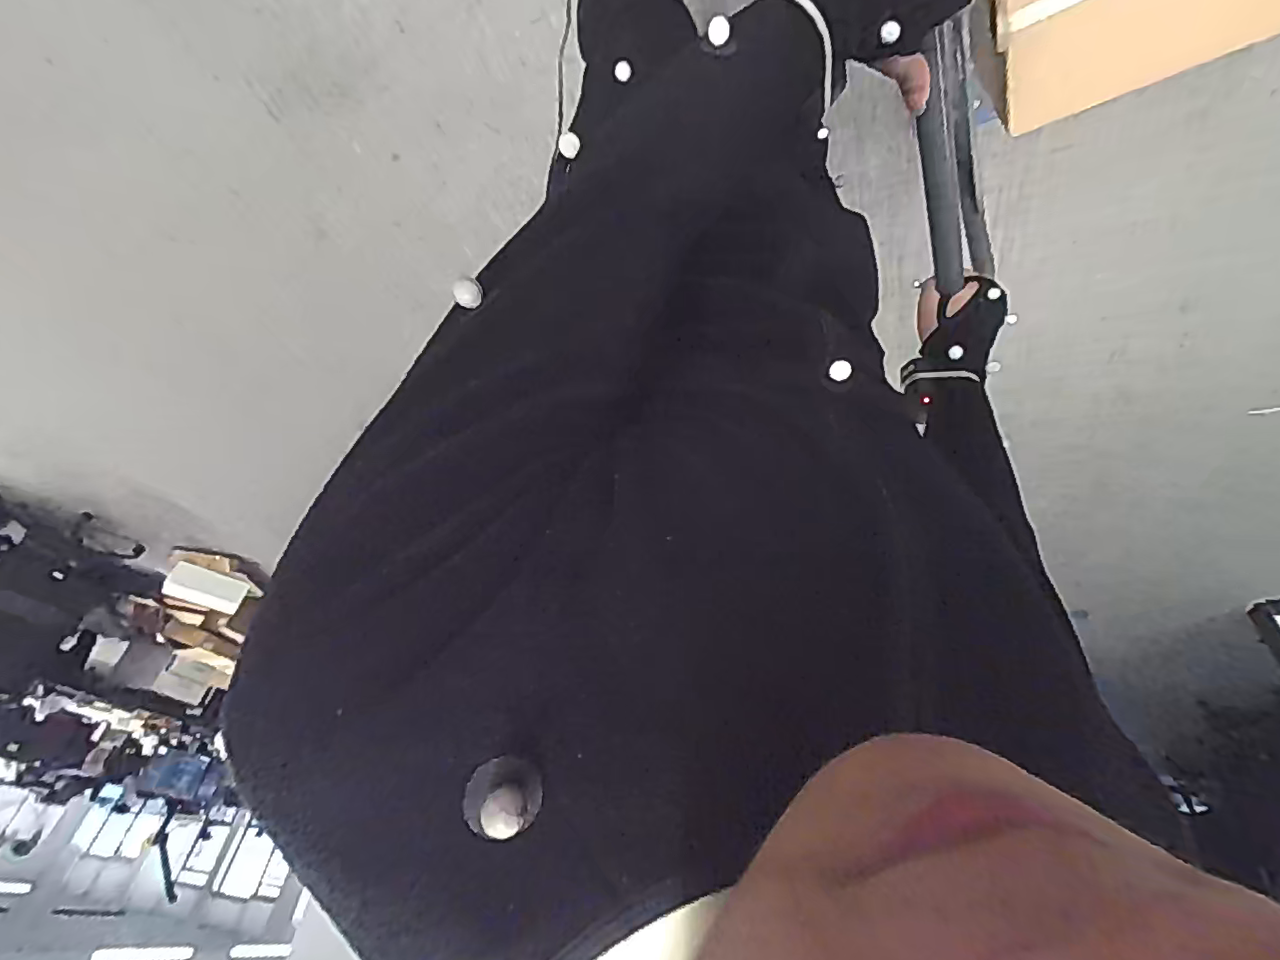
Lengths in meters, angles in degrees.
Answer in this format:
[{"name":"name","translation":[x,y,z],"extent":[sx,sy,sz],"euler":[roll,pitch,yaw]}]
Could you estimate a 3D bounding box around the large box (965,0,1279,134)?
[{"name":"large box","translation":[0.667,-0.754,0.699],"extent":[0.408,0.320,0.320],"euler":[-12,139,28]}]
